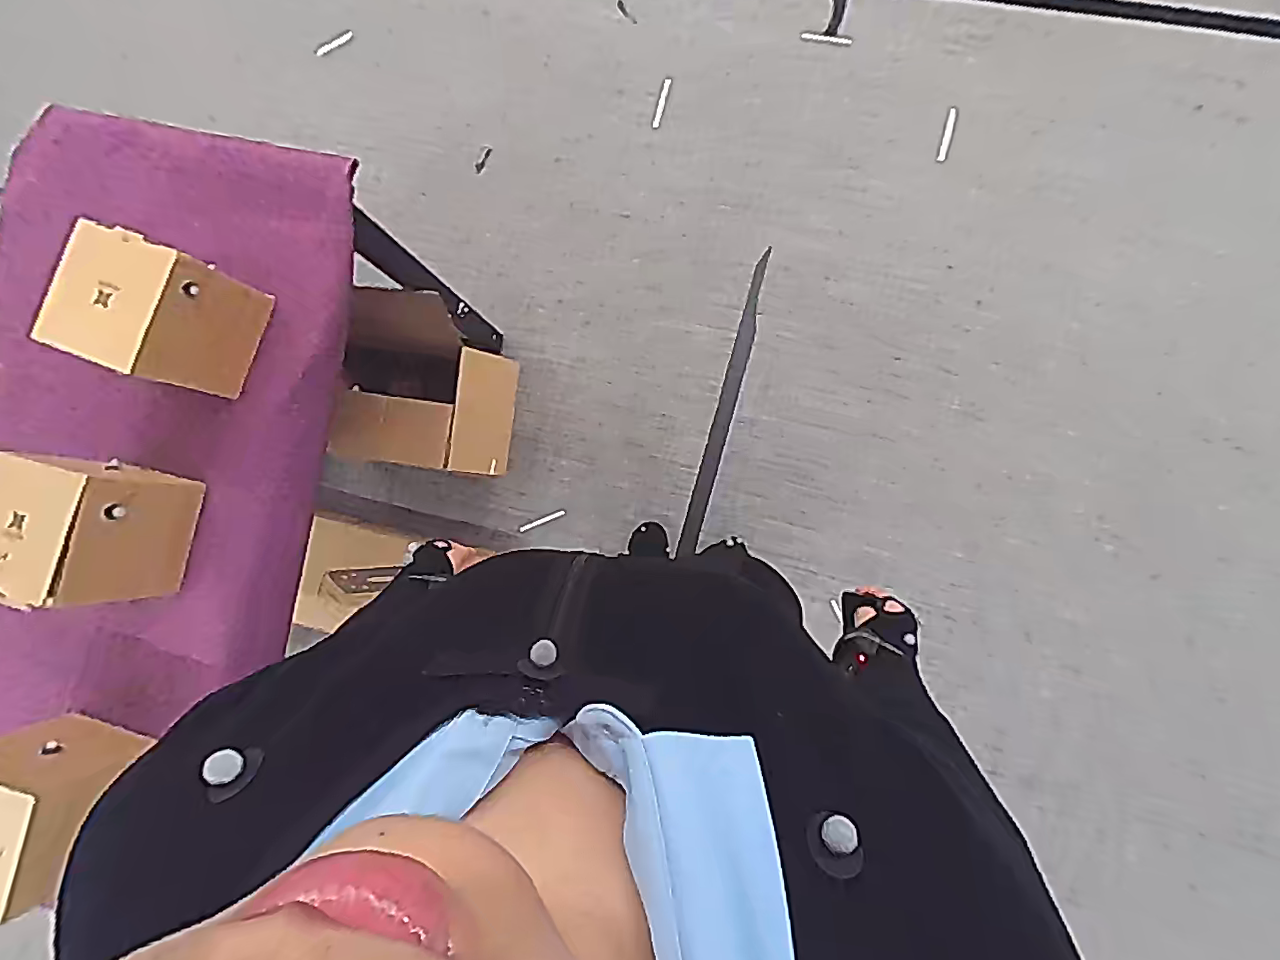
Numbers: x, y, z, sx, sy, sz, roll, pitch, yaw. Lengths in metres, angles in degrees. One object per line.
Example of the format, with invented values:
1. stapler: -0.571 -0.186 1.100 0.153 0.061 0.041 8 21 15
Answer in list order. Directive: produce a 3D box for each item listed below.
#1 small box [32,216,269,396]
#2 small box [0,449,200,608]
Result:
1. small box: -0.690 -0.238 0.784 0.168 0.176 0.179 20 88 7
2. small box: -0.785 0.066 0.772 0.168 0.176 0.179 12 87 10
